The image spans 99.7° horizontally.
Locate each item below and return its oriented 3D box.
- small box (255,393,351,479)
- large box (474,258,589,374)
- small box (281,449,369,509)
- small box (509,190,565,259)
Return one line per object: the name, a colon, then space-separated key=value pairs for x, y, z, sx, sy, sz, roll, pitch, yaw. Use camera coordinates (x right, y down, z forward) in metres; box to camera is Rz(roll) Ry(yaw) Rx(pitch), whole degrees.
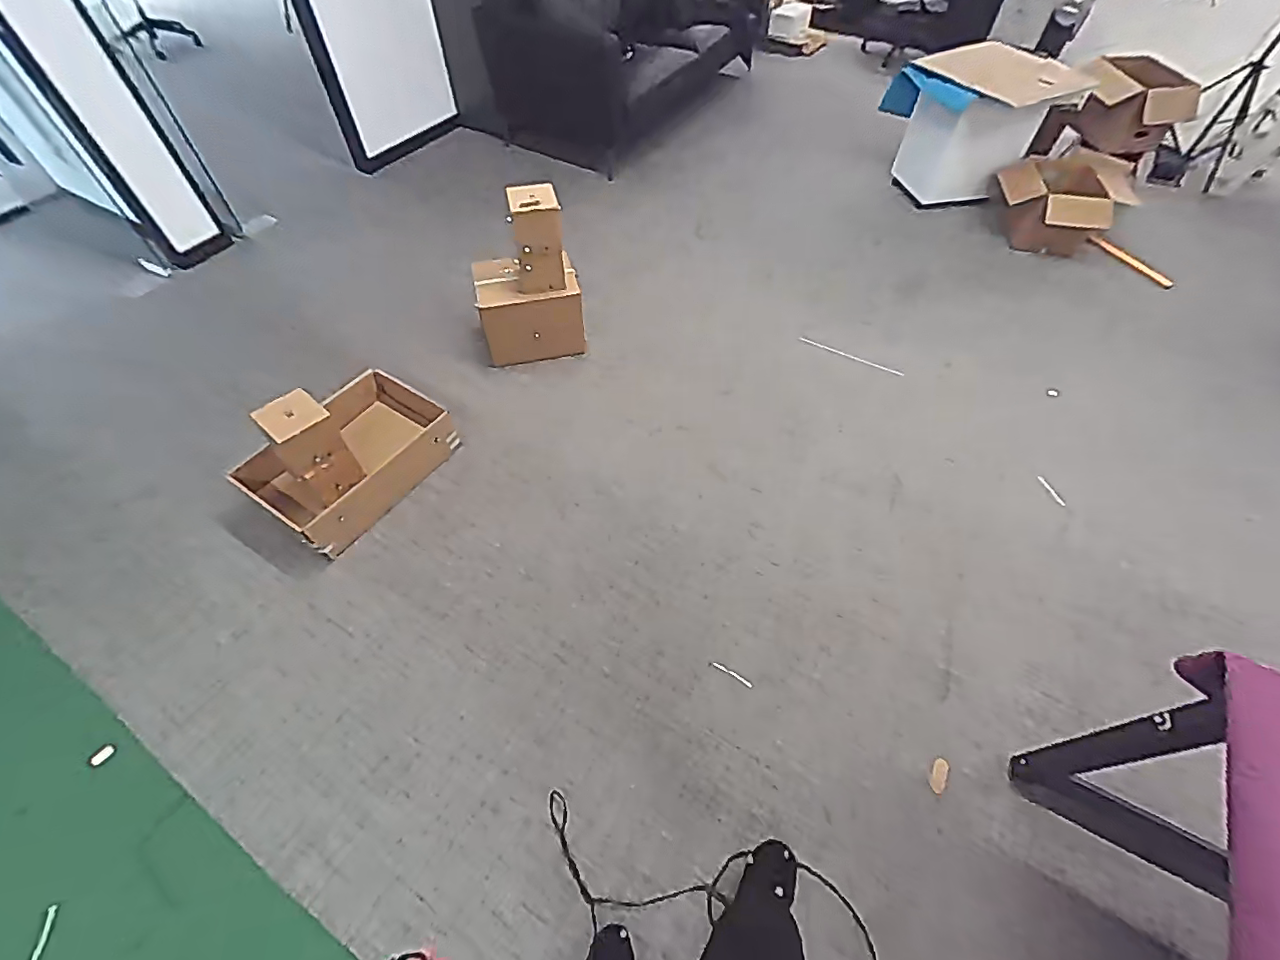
small box: x=-1.061 y=-0.136 z=1.713 sx=0.179 sy=0.176 sz=0.168 roll=35 pitch=58 yaw=22
large box: x=-0.459 y=-0.701 z=2.322 sx=0.408 sy=0.320 sz=0.320 roll=-13 pitch=54 yaw=-9
small box: x=-1.064 y=-0.032 z=1.839 sx=0.179 sy=0.176 sz=0.168 roll=32 pitch=56 yaw=19
small box: x=-0.375 y=-0.930 z=1.982 sx=0.168 sy=0.176 sz=0.179 roll=-11 pitch=54 yaw=-9
